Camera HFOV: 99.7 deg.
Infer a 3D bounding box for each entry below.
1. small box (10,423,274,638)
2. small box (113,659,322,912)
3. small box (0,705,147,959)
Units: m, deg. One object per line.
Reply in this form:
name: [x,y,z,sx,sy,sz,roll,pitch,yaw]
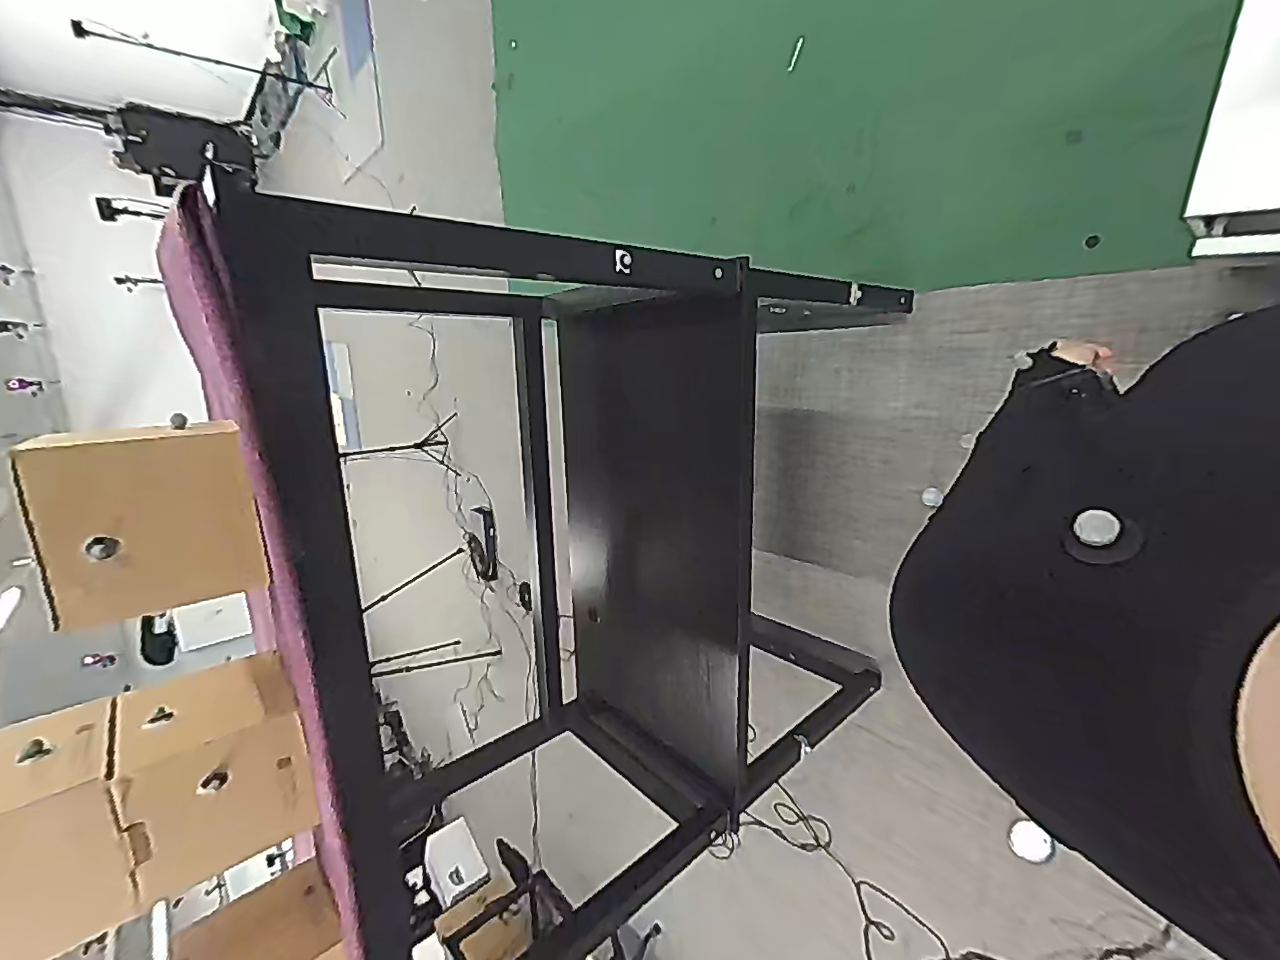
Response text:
small box: [-0.518,0.038,0.590,0.168,0.176,0.179,12,109,50]
small box: [-0.498,0.343,0.653,0.179,0.176,0.168,15,110,48]
small box: [-0.623,0.370,0.548,0.168,0.176,0.179,15,110,46]
